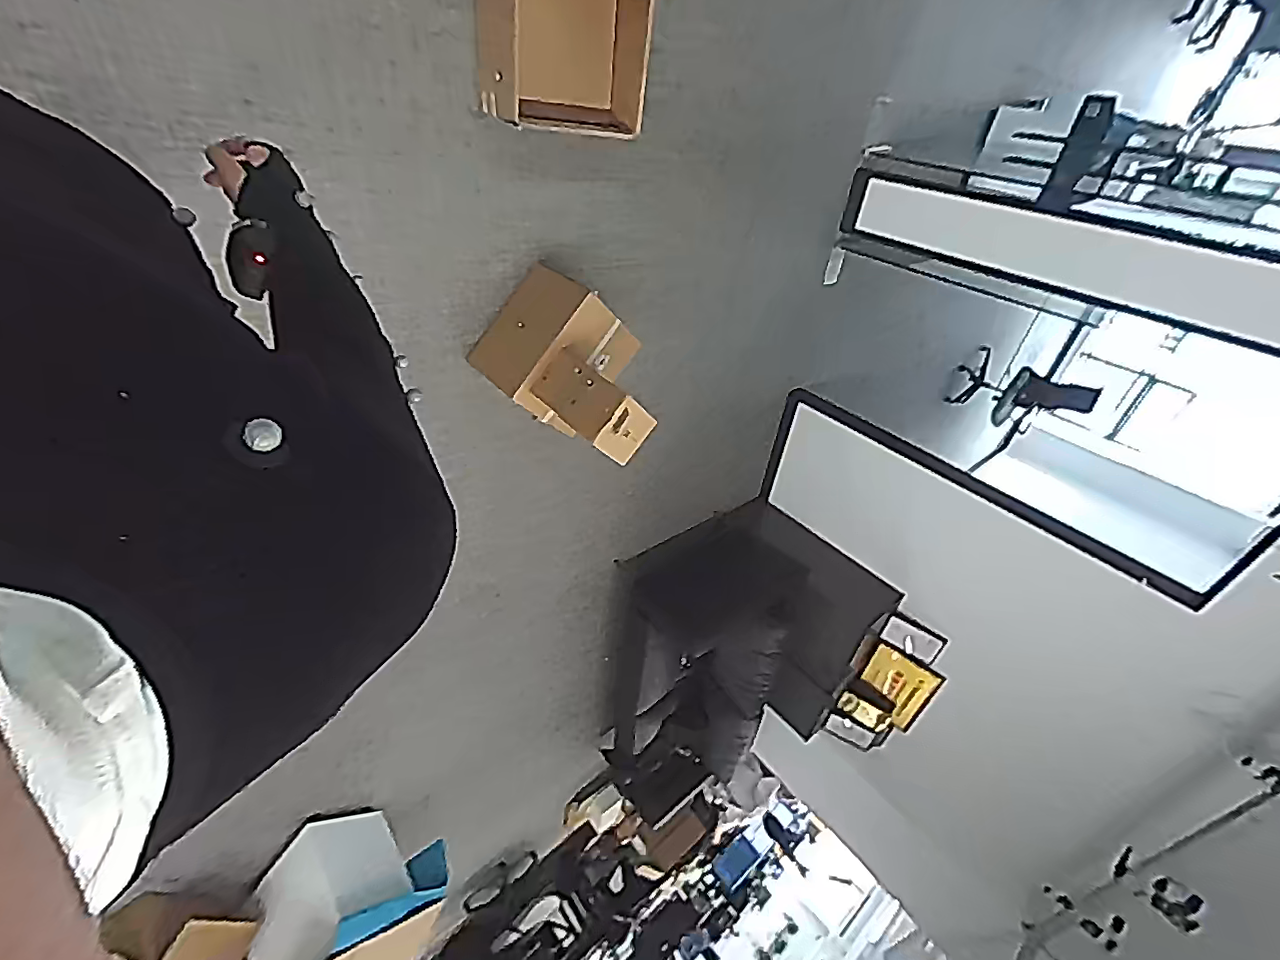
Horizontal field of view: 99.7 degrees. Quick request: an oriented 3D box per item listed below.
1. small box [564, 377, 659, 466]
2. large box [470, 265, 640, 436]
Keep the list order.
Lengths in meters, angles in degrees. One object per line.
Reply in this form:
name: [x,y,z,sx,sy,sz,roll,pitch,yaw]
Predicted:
small box: [-0.084,-0.171,1.540,0.168,0.176,0.179,-53,145,2]
large box: [-0.284,-0.425,1.805,0.408,0.320,0.320,-54,145,2]
